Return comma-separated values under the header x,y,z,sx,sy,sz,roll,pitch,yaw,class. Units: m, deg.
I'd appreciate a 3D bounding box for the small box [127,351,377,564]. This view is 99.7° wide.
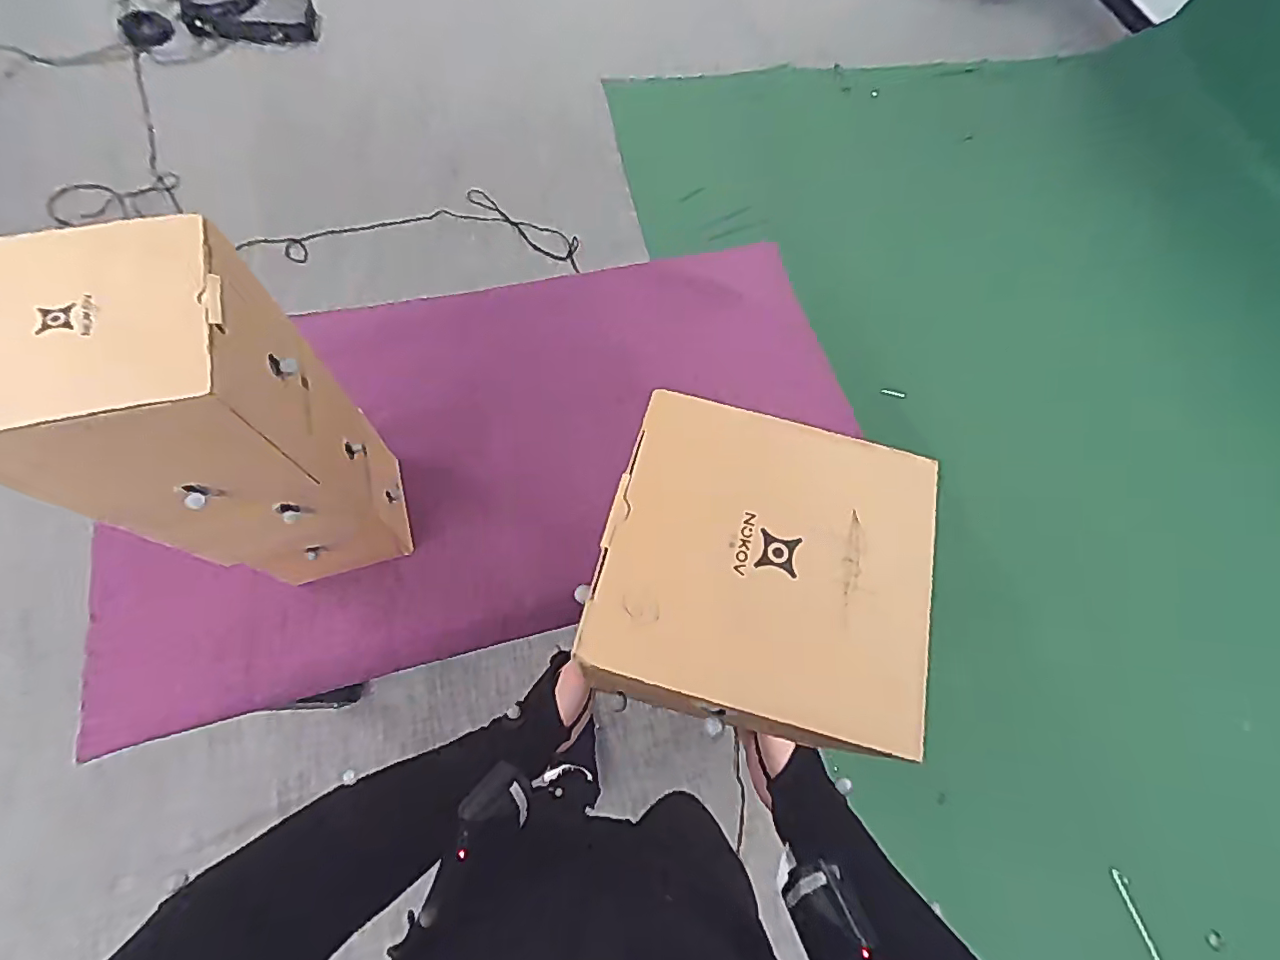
x,y,z,sx,sy,sz,roll,pitch,yaw,class
-0.415,-0.017,0.610,0.179,0.176,0.168,-13,70,-10,small box

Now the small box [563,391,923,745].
x,y,z,sx,sy,sz,roll,pitch,yaw,class
0.062,0.068,0.372,0.179,0.176,0.168,15,68,4,small box

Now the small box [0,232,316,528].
x,y,z,sx,sy,sz,roll,pitch,yaw,class
-0.399,-0.074,0.458,0.179,0.176,0.168,-14,70,-11,small box

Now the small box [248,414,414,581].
x,y,z,sx,sy,sz,roll,pitch,yaw,class
-0.436,0.031,0.768,0.179,0.176,0.168,-15,71,-10,small box
